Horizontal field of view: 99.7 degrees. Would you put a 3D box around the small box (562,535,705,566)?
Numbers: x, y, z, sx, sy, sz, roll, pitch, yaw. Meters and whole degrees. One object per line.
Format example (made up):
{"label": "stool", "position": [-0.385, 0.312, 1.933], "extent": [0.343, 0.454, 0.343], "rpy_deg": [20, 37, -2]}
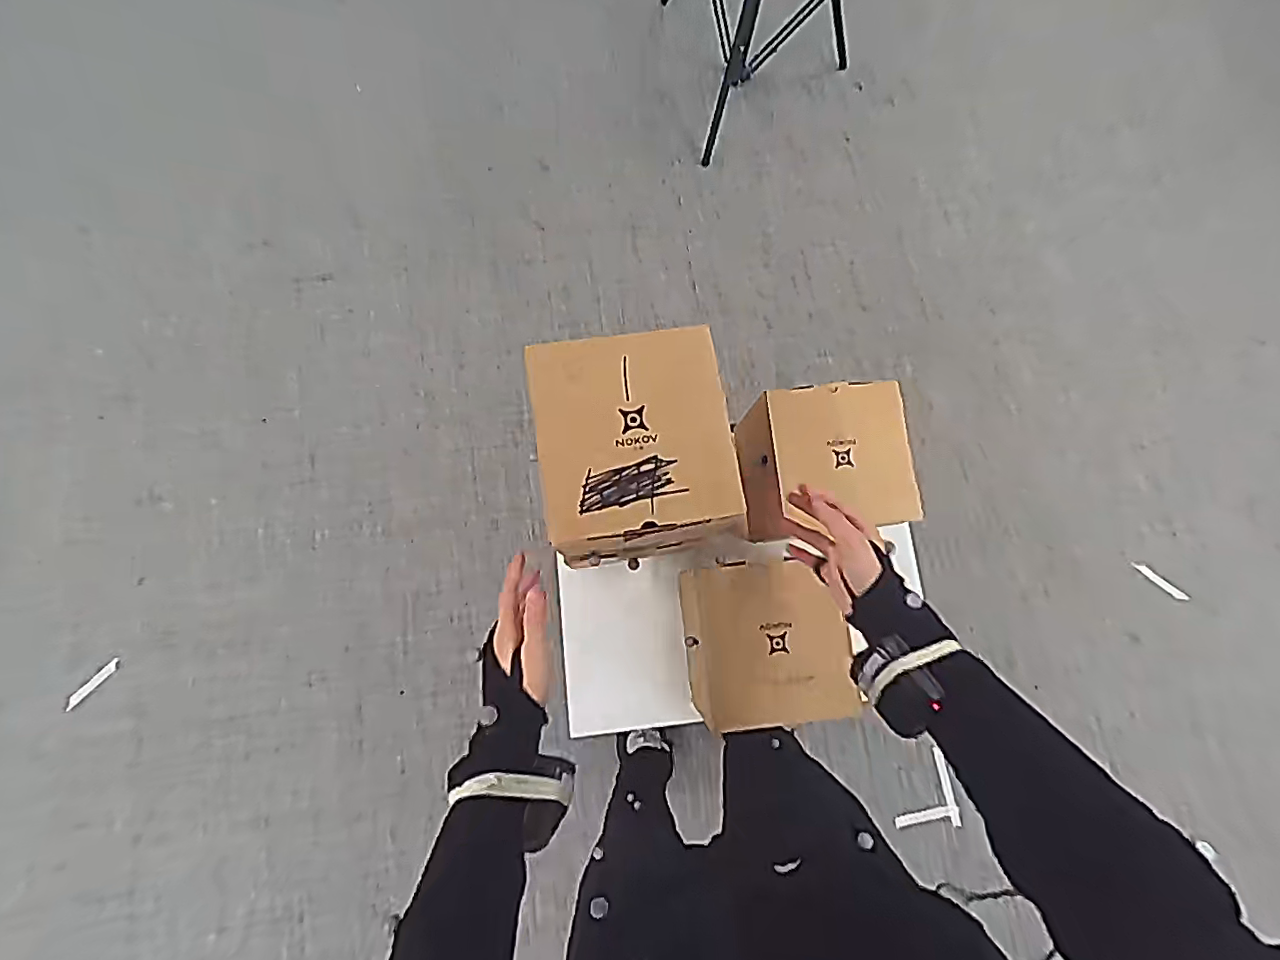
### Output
{"label": "small box", "position": [-0.022, 0.012, 0.697], "extent": [0.168, 0.176, 0.179], "rpy_deg": [-9, 80, -5]}

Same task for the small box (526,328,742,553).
{"label": "small box", "position": [-0.010, -0.025, 0.538], "extent": [0.168, 0.176, 0.179], "rpy_deg": [-9, 78, -5]}

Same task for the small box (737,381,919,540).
{"label": "small box", "position": [0.234, -0.015, 0.718], "extent": [0.168, 0.176, 0.179], "rpy_deg": [-5, 79, -3]}
